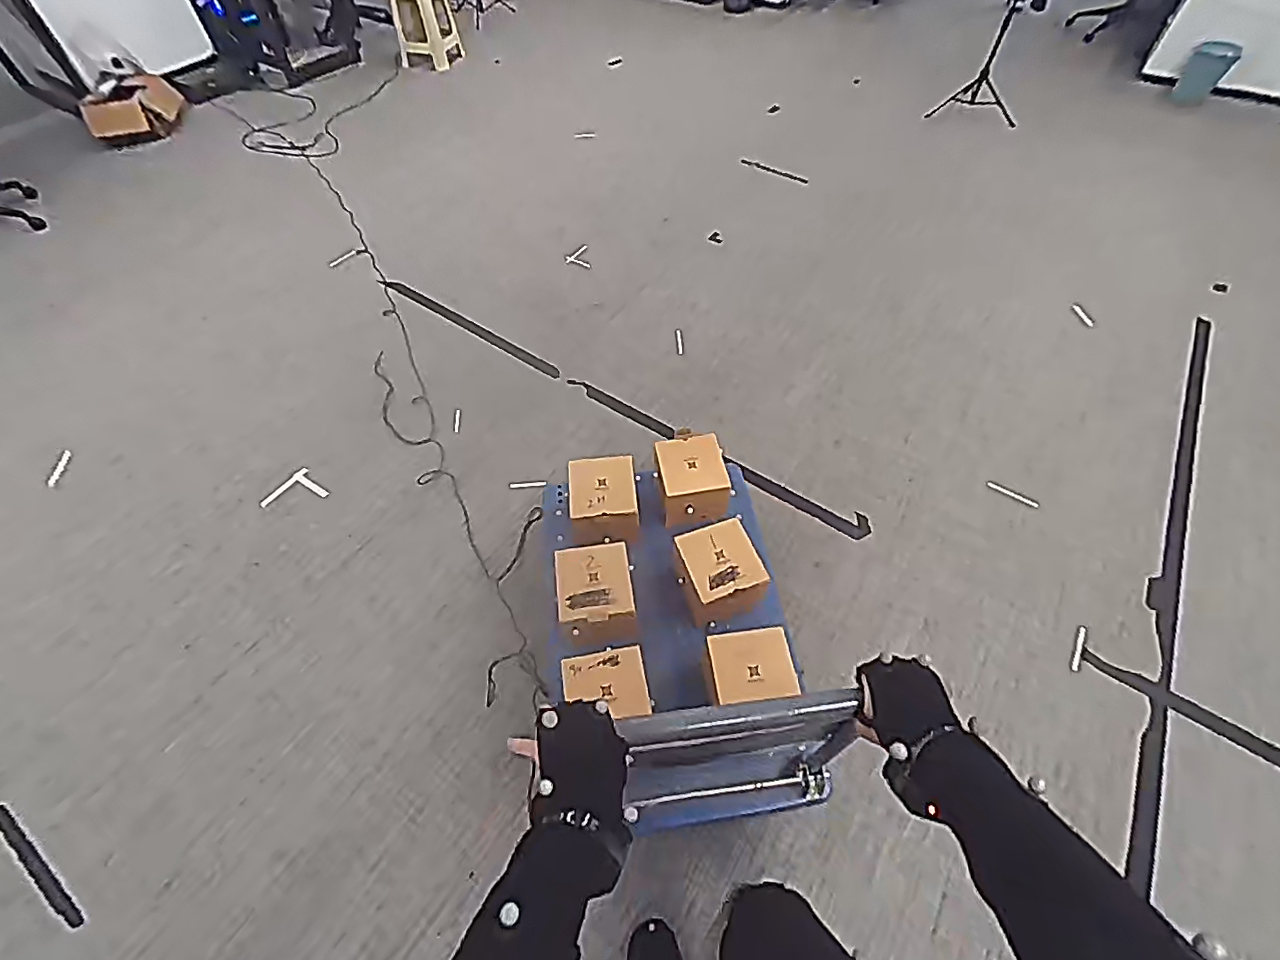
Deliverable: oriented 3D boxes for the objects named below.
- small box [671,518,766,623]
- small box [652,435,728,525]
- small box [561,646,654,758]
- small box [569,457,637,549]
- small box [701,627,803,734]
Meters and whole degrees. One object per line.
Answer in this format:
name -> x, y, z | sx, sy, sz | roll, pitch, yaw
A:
small box -> 0.181, 0.225, 1.300 | 0.168, 0.176, 0.179 | -17, 56, -11
small box -> 0.129, 0.006, 1.453 | 0.168, 0.176, 0.179 | -9, 55, -5
small box -> -0.066, 0.470, 1.130 | 0.168, 0.176, 0.179 | -9, 56, -7
small box -> -0.097, 0.062, 1.415 | 0.168, 0.176, 0.179 | -5, 56, -3
small box -> 0.229, 0.433, 1.155 | 0.168, 0.176, 0.179 | -6, 55, -4
